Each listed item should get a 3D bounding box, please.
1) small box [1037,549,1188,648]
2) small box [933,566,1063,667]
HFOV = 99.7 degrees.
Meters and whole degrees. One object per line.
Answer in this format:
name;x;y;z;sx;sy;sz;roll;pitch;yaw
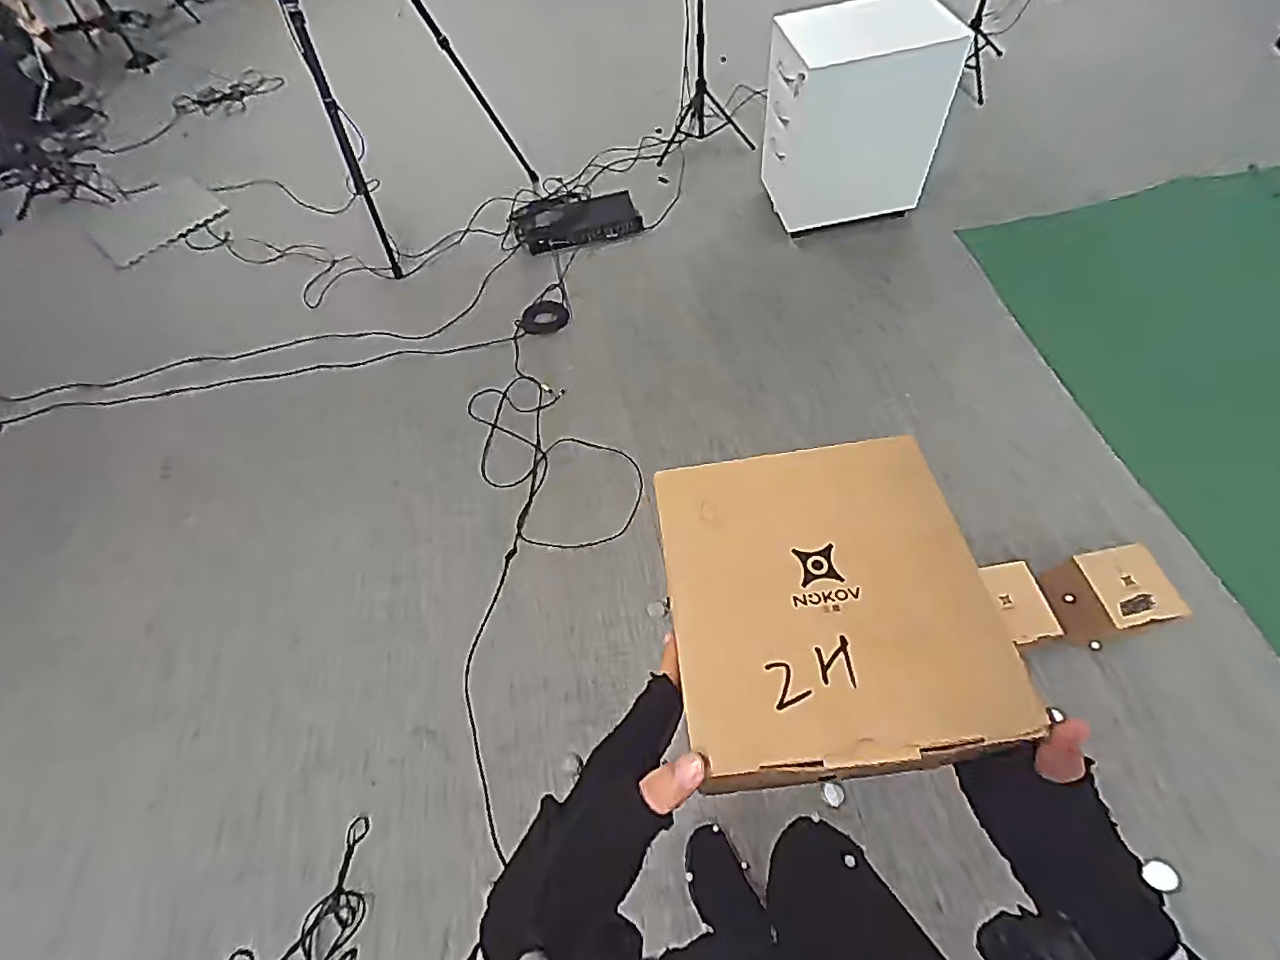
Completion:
small box;1.098;0.287;1.276;0.168;0.176;0.179;-11;58;0
small box;0.832;0.327;1.283;0.168;0.176;0.179;-10;59;0
